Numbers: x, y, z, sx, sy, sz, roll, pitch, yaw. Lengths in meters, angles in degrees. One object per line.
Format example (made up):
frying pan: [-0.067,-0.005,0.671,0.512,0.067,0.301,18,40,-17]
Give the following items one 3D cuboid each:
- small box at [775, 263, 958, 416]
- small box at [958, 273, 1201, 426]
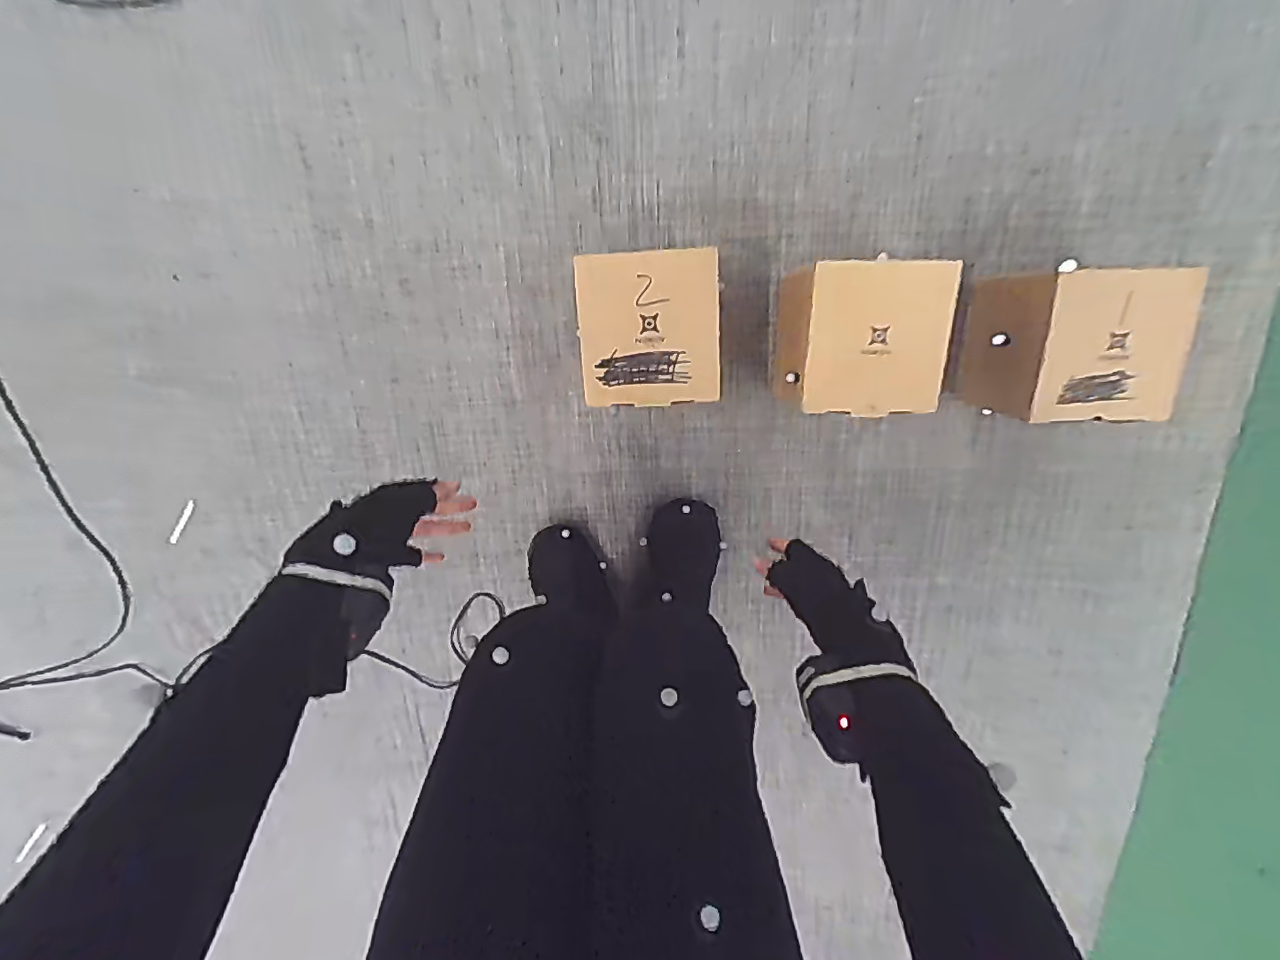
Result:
small box: [0.280,-0.184,0.712,0.168,0.176,0.179,0,107,1]
small box: [0.549,-0.173,0.708,0.168,0.176,0.179,0,106,1]
